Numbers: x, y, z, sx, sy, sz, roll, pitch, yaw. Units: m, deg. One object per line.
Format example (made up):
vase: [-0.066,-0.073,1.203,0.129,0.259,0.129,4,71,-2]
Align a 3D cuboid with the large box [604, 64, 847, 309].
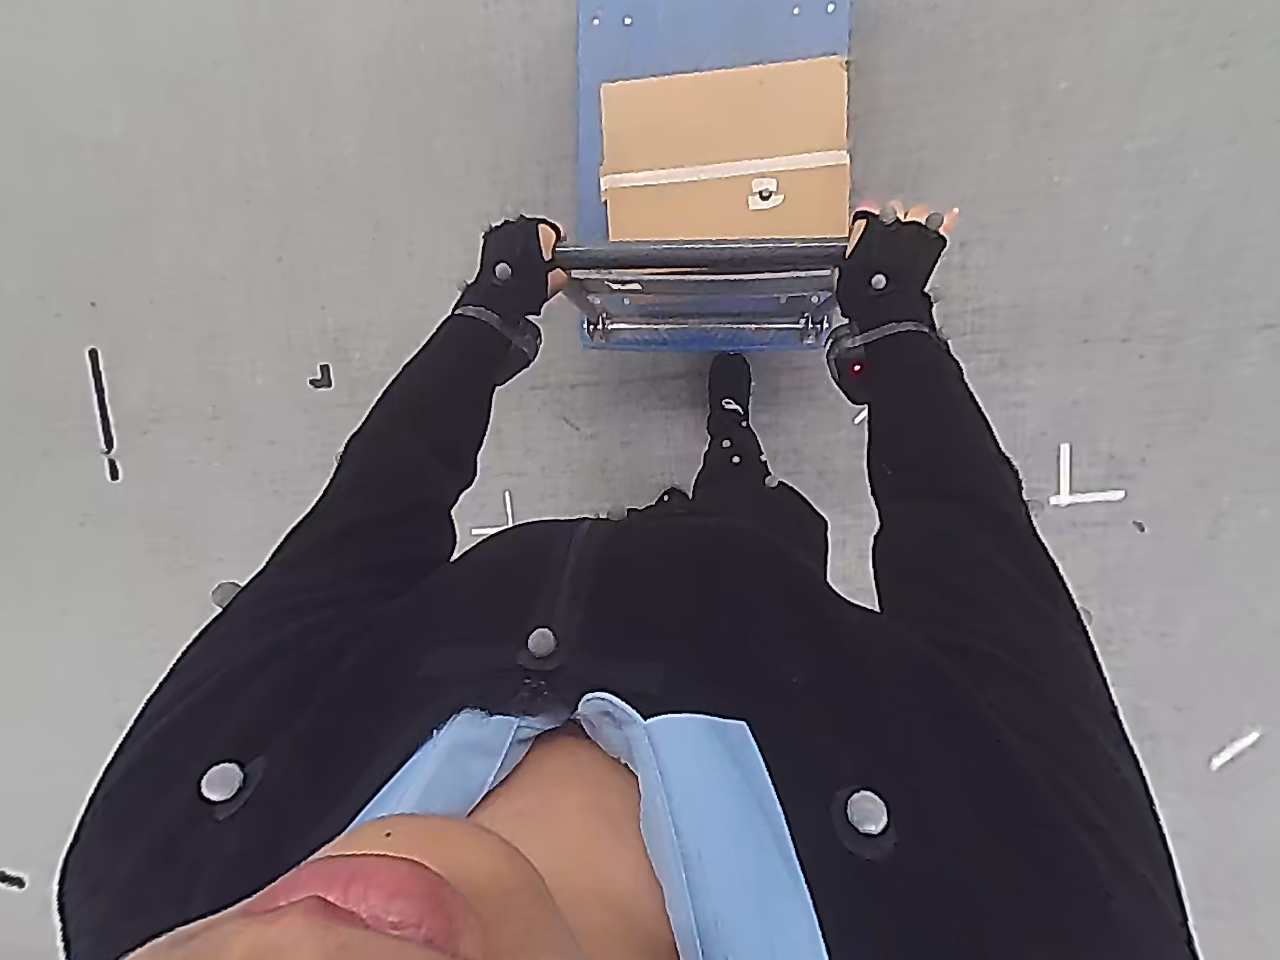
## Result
large box: [0.155,-0.537,1.066,0.408,0.320,0.320,-3,99,5]
